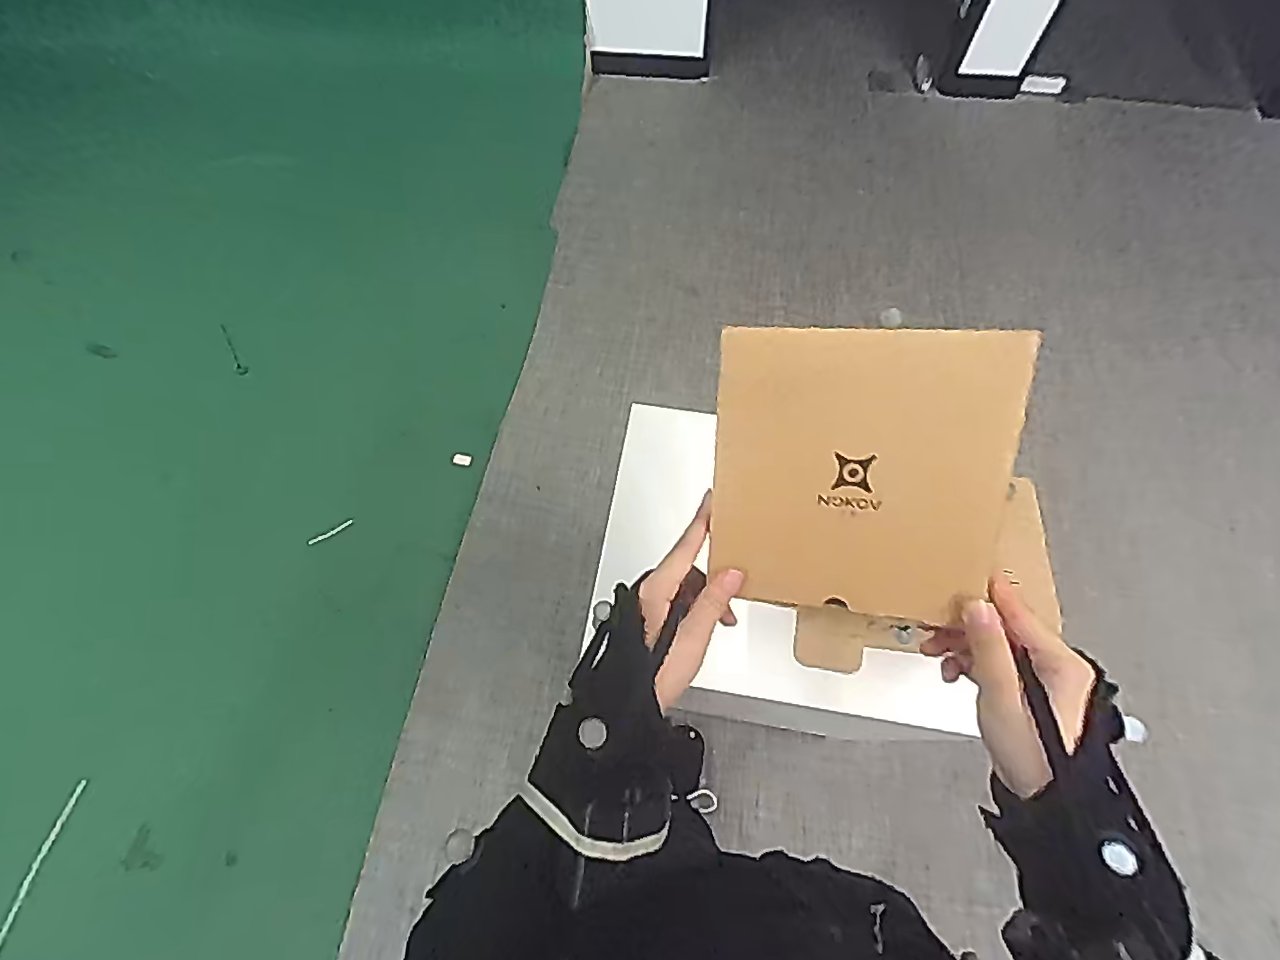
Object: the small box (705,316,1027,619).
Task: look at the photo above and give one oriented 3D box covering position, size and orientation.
[{"bbox_3d":[0.143,-0.024,0.398,0.168,0.176,0.179,5,105,13],"label":"small box"}]
